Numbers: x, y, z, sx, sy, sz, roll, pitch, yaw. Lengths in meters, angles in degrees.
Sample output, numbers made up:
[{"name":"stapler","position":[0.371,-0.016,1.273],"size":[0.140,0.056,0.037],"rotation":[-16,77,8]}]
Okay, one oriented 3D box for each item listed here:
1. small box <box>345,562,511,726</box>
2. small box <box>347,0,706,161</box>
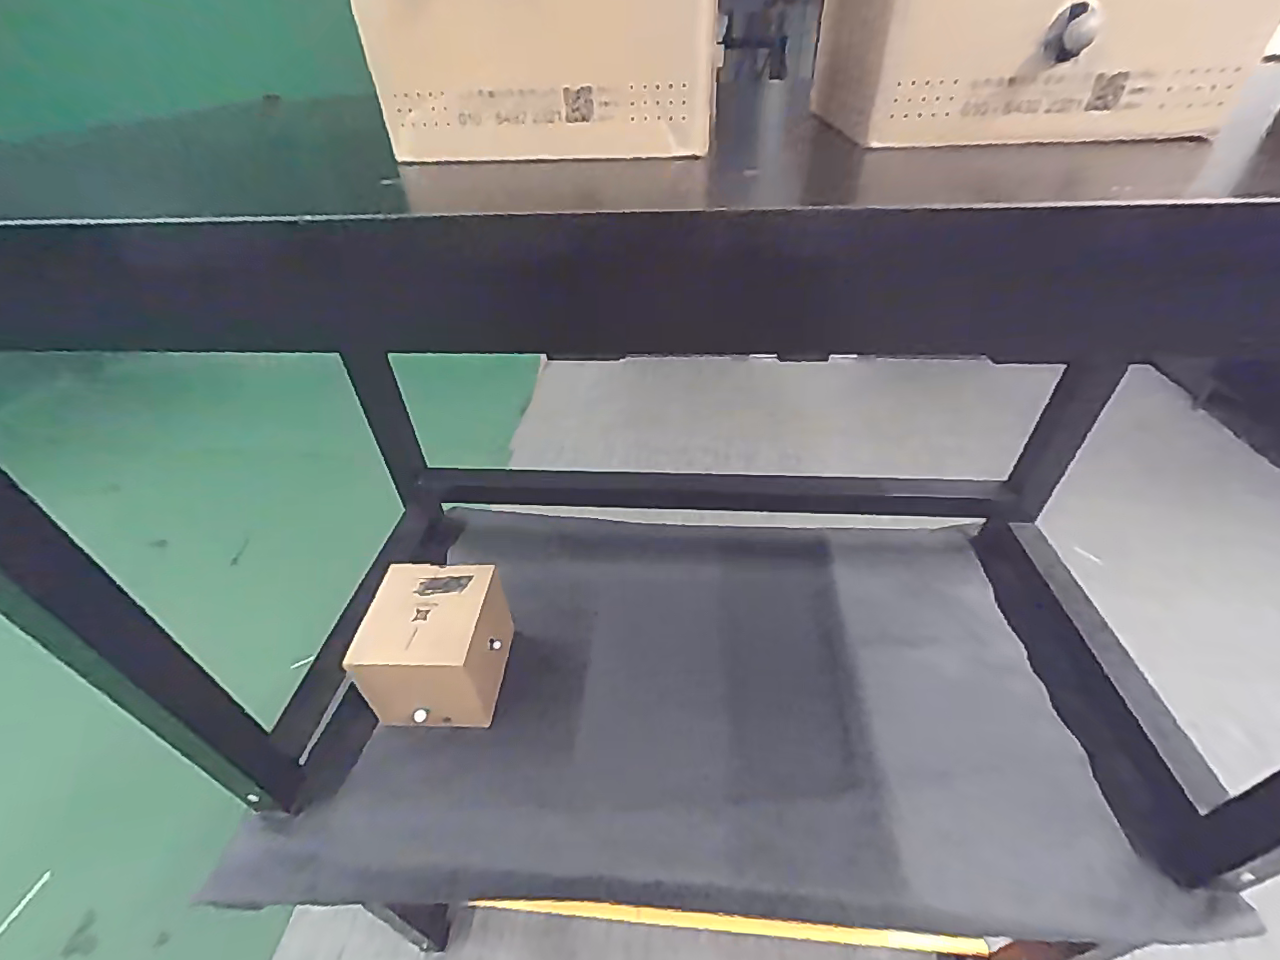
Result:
[{"name":"small box","position":[-0.303,0.245,0.819],"size":[0.168,0.176,0.179],"rotation":[0,40,3]},{"name":"small box","position":[-0.050,-0.282,0.296],"size":[0.168,0.176,0.179],"rotation":[3,39,7]}]
